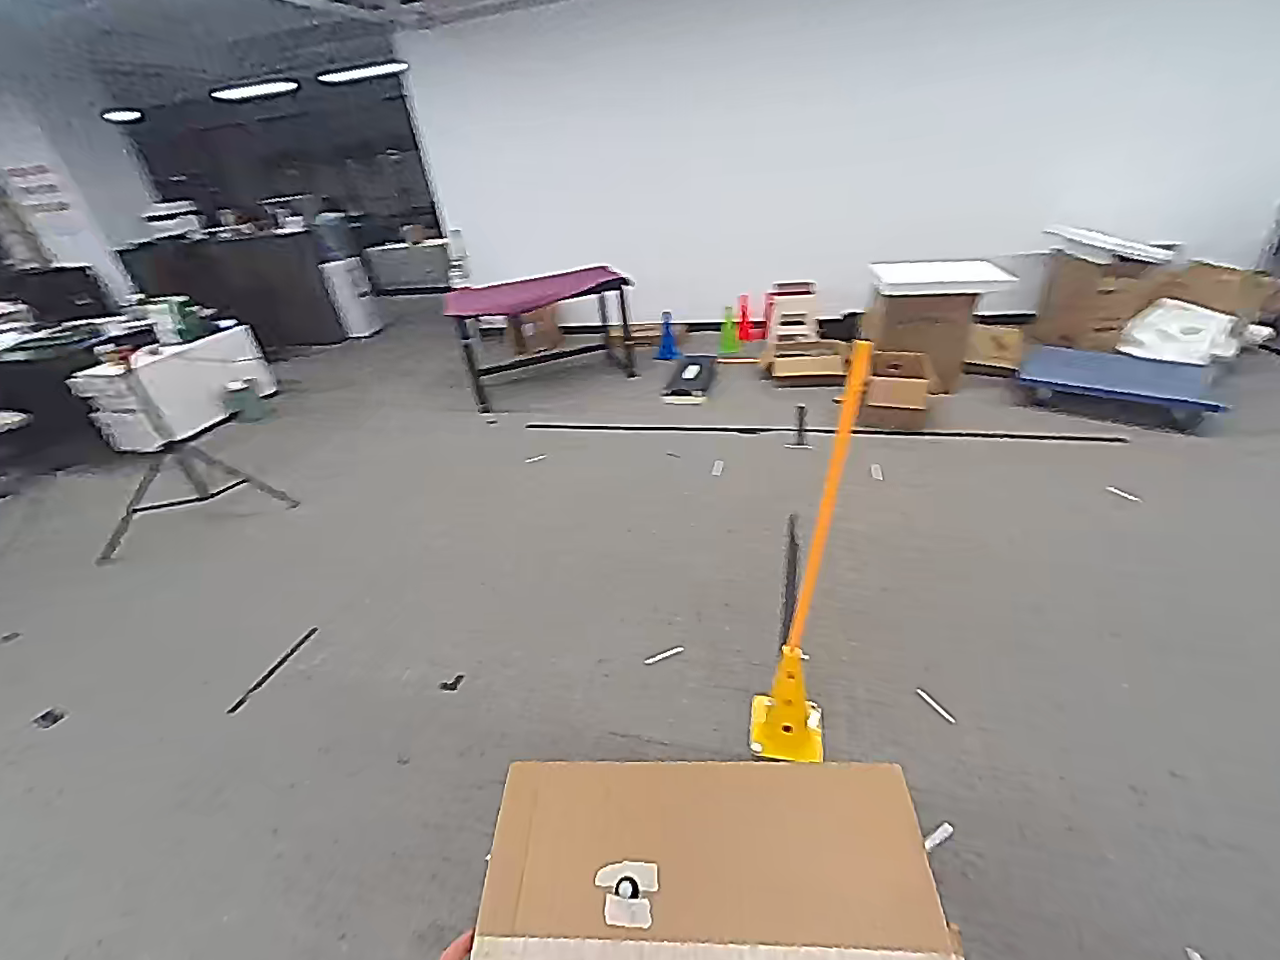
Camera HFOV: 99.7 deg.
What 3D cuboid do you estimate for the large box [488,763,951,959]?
[{"bbox_3d":[0.082,0.516,0.564,0.408,0.320,0.320,-4,43,8],"label":"large box"}]
